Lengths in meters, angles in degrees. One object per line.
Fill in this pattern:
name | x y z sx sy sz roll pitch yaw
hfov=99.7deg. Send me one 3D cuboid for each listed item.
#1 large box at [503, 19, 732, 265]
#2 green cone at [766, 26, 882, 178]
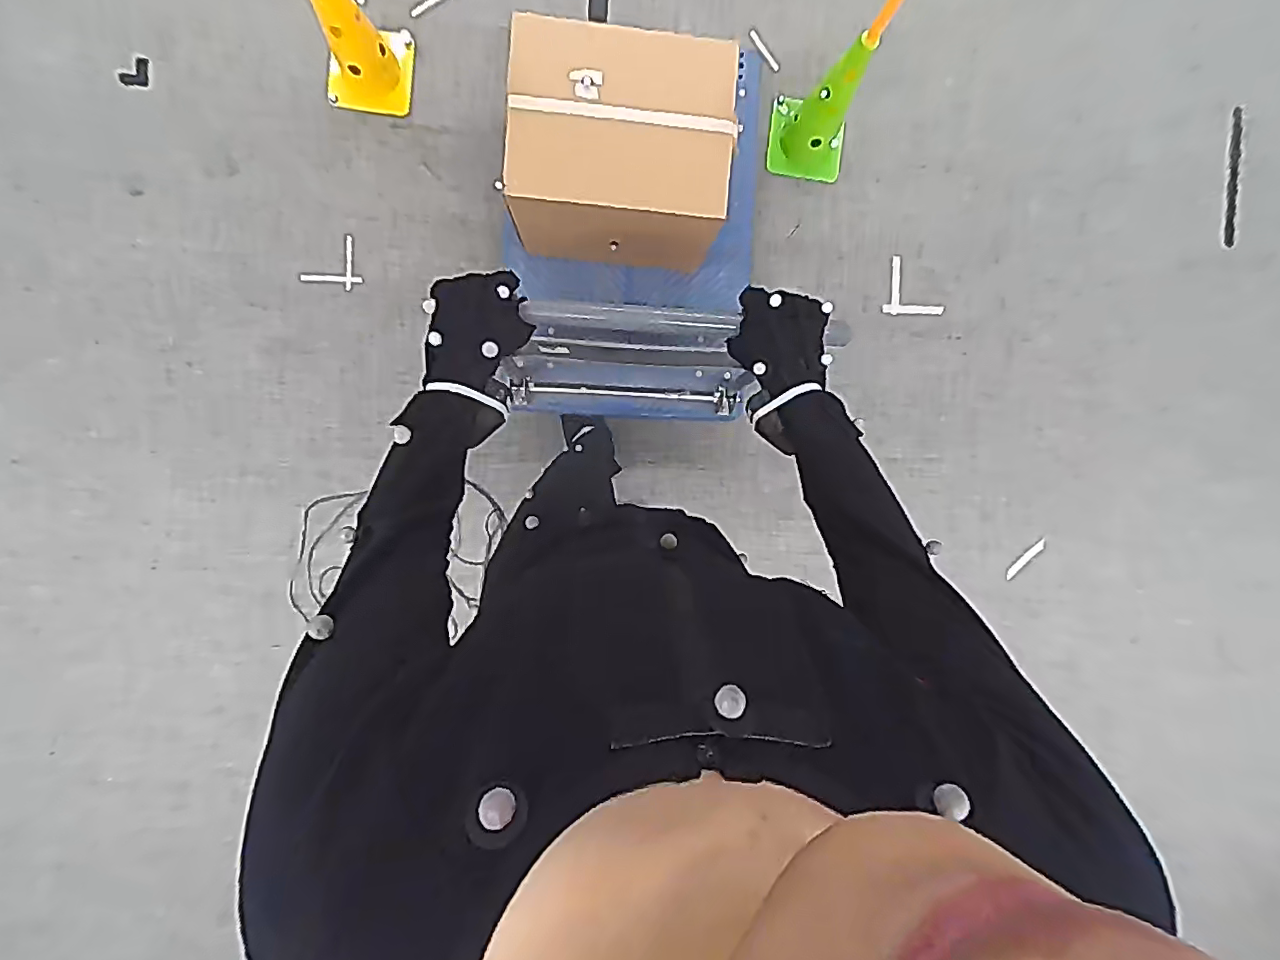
large box | -0.046 -0.659 1.119 0.408 0.320 0.320 4 93 -4
green cone | 0.458 -0.919 1.286 0.202 0.368 0.200 6 92 -6
